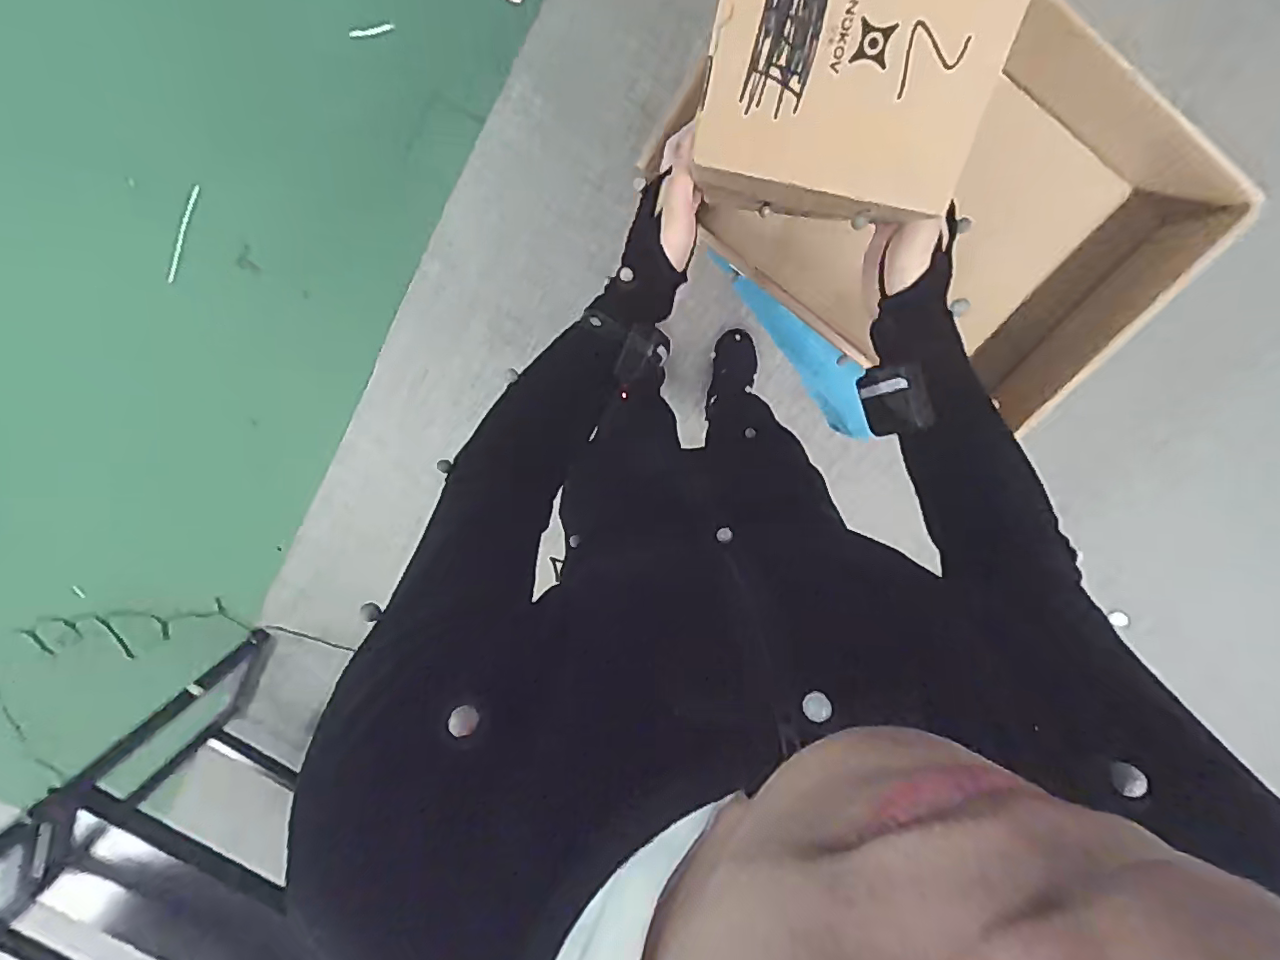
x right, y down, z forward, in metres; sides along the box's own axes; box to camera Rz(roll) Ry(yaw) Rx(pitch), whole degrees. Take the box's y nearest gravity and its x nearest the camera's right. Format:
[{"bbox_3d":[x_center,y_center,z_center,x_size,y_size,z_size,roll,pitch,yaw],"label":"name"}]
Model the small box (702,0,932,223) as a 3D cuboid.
[{"bbox_3d":[0.158,-0.366,0.543,0.168,0.176,0.179,9,115,5],"label":"small box"}]
